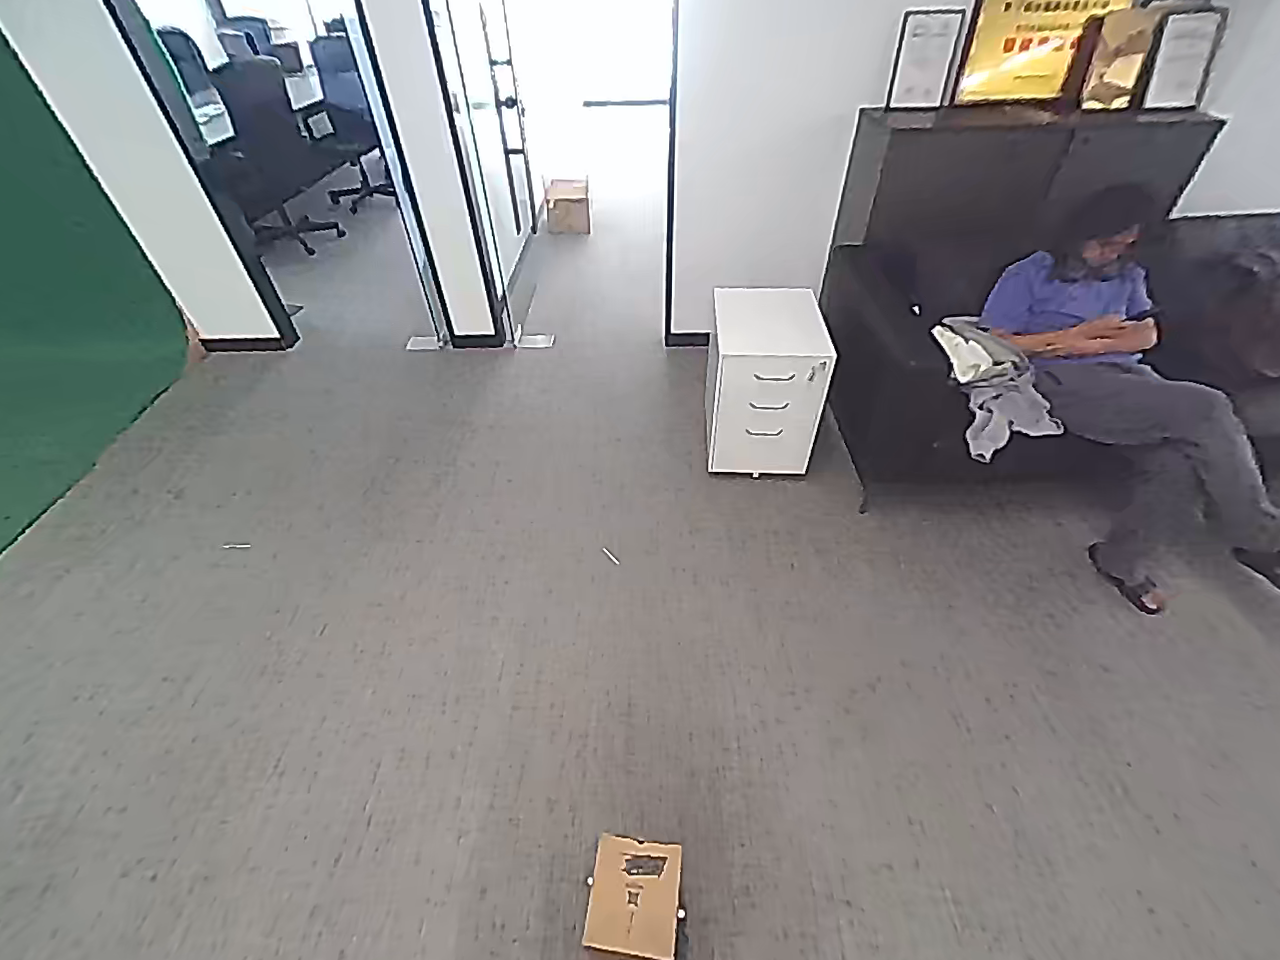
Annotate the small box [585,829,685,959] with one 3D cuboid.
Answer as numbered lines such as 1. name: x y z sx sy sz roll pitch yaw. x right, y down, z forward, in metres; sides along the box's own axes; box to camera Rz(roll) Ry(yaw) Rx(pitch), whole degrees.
1. small box: -0.005 0.821 1.061 0.168 0.176 0.179 6 44 7
